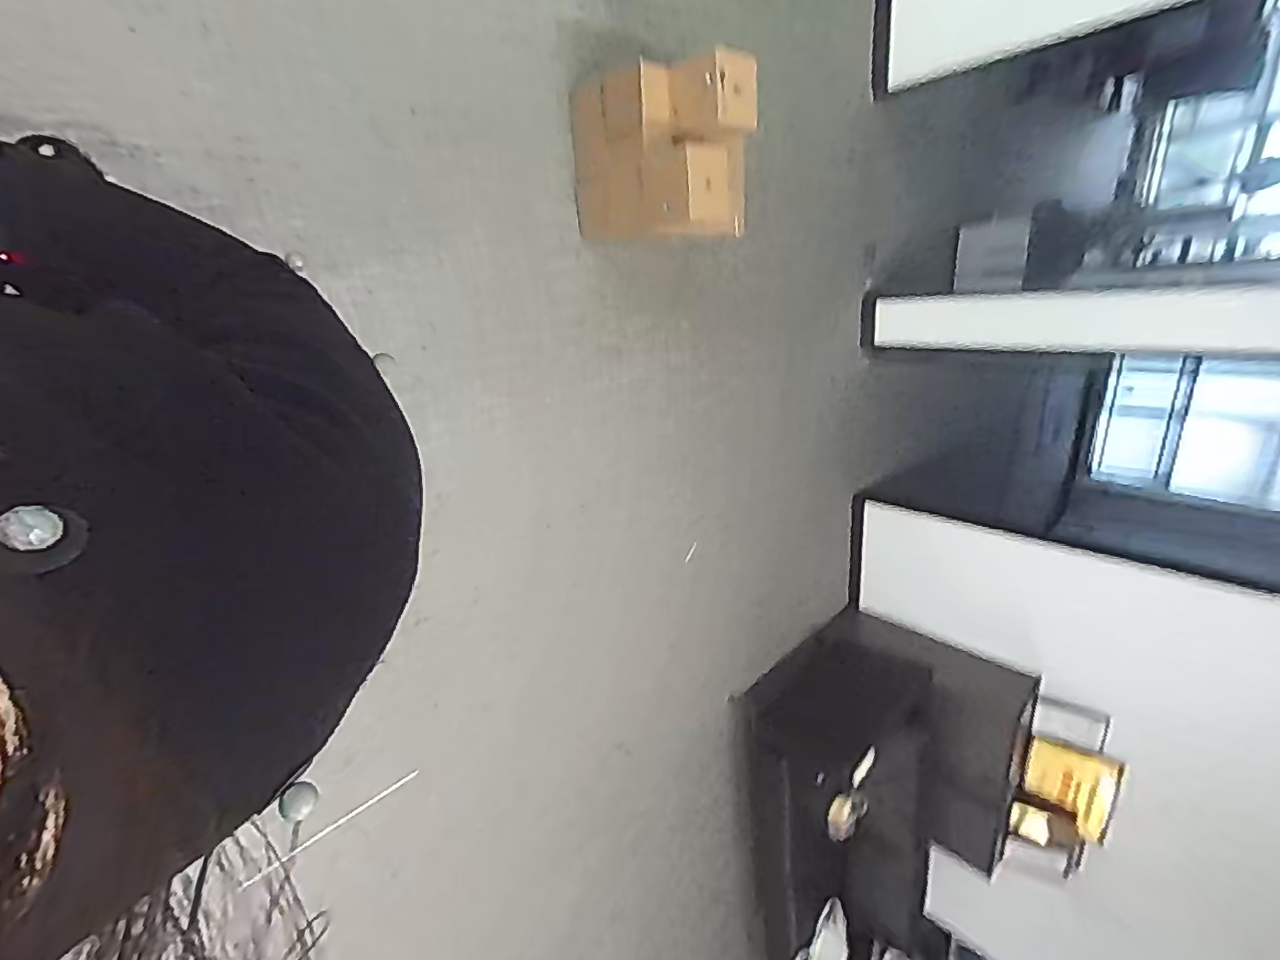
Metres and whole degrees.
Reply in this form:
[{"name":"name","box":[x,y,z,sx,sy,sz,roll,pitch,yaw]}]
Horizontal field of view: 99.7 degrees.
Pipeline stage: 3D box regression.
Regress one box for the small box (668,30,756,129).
[{"name":"small box","box":[0.195,-1.063,1.452,0.179,0.176,0.168,-23,117,-40]}]

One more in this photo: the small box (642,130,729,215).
[{"name":"small box","box":[0.122,-0.815,1.452,0.168,0.176,0.179,-24,118,-38]}]
